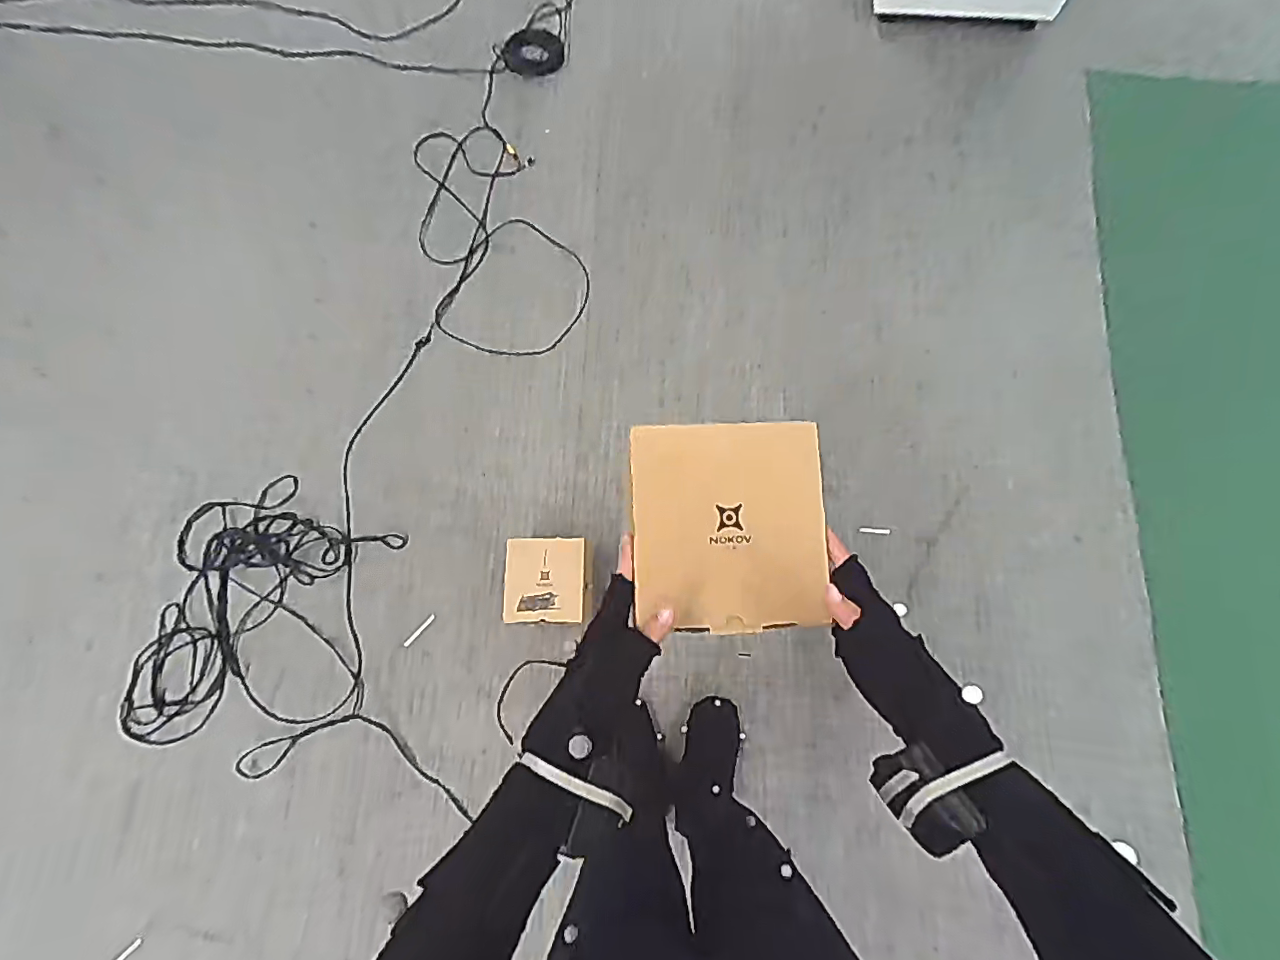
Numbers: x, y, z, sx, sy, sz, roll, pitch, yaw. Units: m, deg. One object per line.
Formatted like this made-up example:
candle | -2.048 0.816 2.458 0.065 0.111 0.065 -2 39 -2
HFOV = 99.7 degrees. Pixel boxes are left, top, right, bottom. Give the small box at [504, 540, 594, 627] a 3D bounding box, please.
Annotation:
small box | -0.191 0.229 1.190 0.168 0.176 0.179 0 76 1

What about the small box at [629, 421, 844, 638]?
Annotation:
small box | 0.076 0.049 0.521 0.168 0.176 0.179 -2 82 -3
